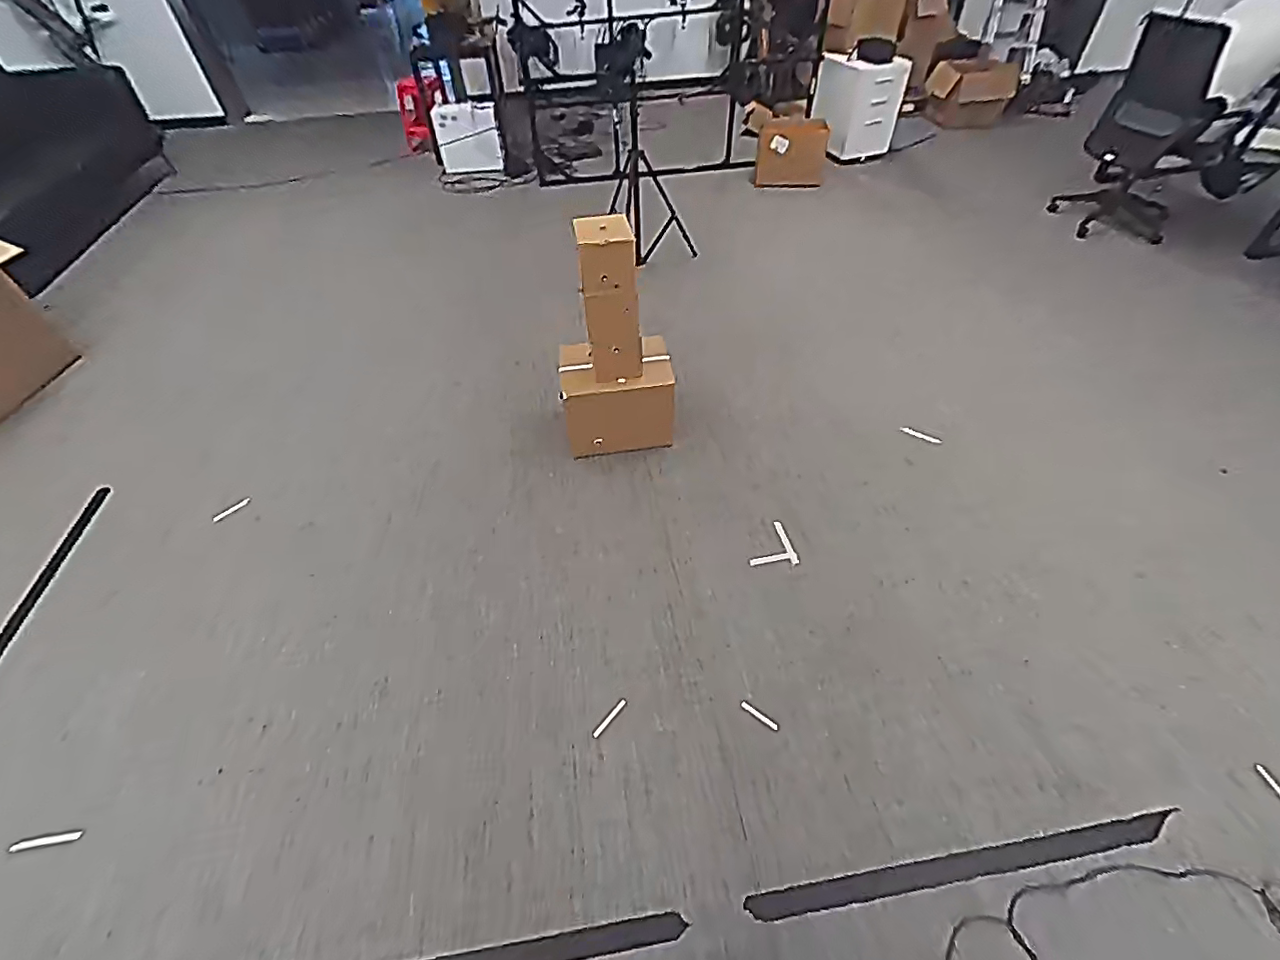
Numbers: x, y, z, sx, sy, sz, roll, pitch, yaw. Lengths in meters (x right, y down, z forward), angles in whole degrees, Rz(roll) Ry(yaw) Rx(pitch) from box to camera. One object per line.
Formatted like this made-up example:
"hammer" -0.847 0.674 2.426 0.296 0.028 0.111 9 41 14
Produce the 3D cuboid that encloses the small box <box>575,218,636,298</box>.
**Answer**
"small box" -0.106 -0.686 1.674 0.168 0.176 0.179 -9 50 -6

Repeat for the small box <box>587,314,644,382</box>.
"small box" -0.086 -0.463 1.913 0.179 0.176 0.168 -9 50 -7
